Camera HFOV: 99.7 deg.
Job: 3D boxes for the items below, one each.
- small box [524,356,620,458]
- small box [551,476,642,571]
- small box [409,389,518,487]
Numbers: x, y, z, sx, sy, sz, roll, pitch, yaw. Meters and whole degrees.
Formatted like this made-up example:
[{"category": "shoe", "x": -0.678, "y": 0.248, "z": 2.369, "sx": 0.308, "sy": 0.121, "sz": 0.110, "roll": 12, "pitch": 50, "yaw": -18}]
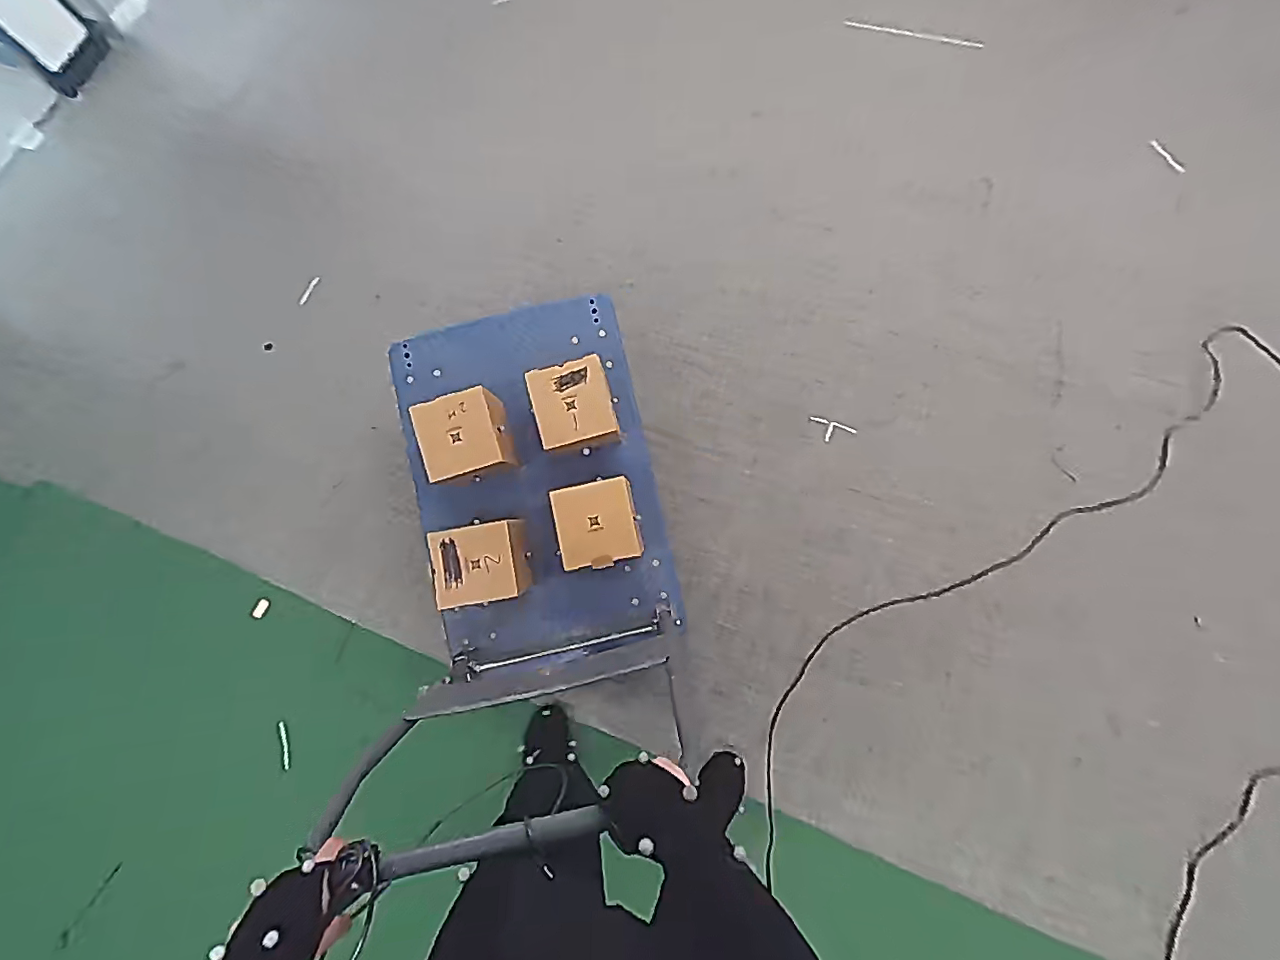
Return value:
[{"category": "small box", "x": -0.149, "y": -0.161, "z": 1.240, "sx": 0.168, "sy": 0.176, "sz": 0.179, "roll": -16, "pitch": 87, "yaw": 1}, {"category": "small box", "x": -0.093, "y": 0.097, "z": 1.222, "sx": 0.168, "sy": 0.176, "sz": 0.179, "roll": -13, "pitch": 87, "yaw": 1}, {"category": "small box", "x": -0.396, "y": -0.088, "z": 1.242, "sx": 0.168, "sy": 0.176, "sz": 0.179, "roll": -18, "pitch": 86, "yaw": 0}]
